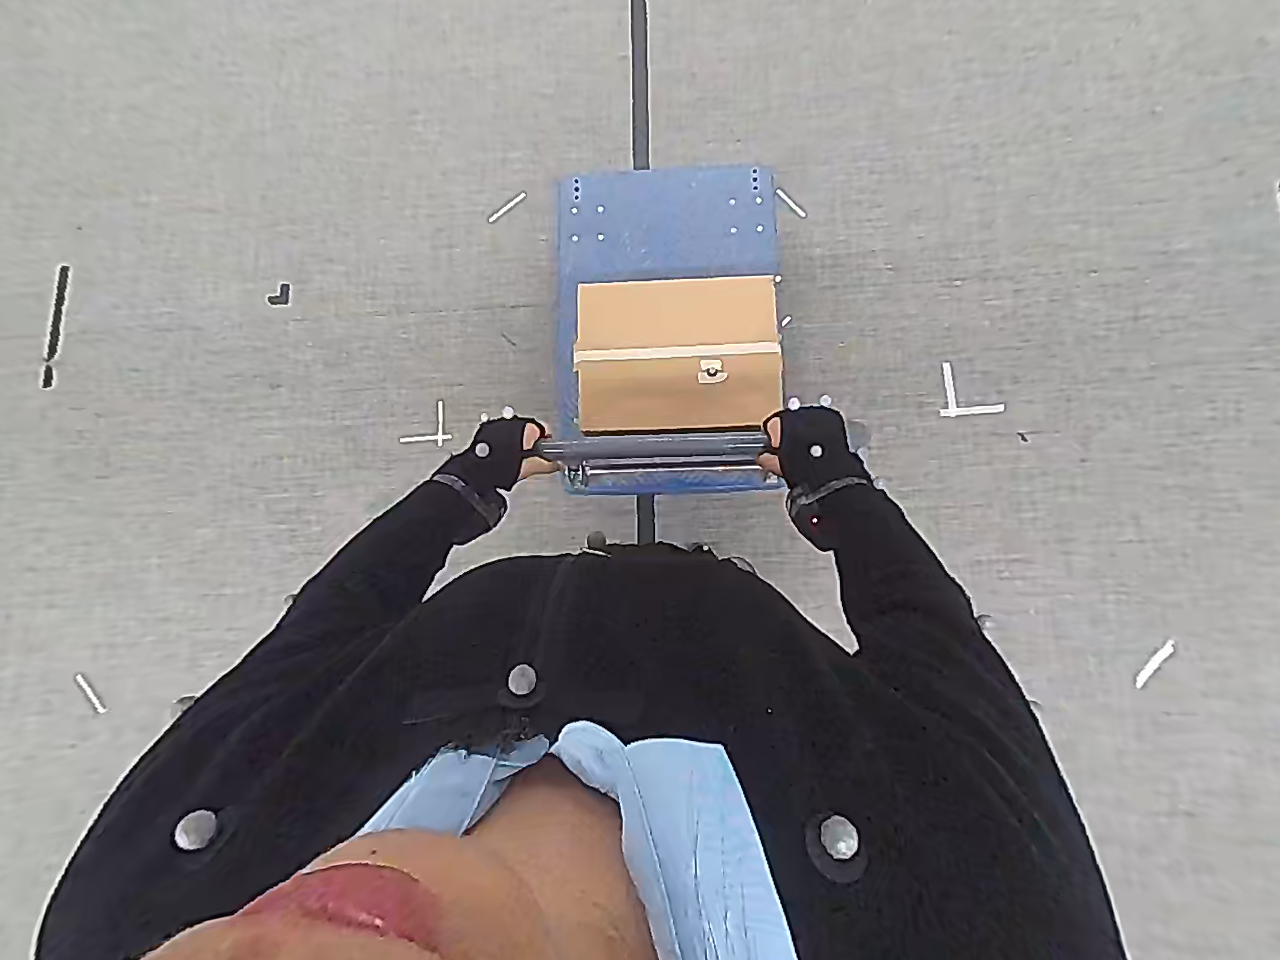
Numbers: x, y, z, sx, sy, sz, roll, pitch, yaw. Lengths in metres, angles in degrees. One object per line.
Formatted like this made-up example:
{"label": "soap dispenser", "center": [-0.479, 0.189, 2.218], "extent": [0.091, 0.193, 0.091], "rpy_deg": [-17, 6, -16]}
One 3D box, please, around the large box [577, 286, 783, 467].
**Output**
{"label": "large box", "center": [0.079, -0.212, 1.220], "extent": [0.408, 0.320, 0.320], "rpy_deg": [-2, 83, 2]}
